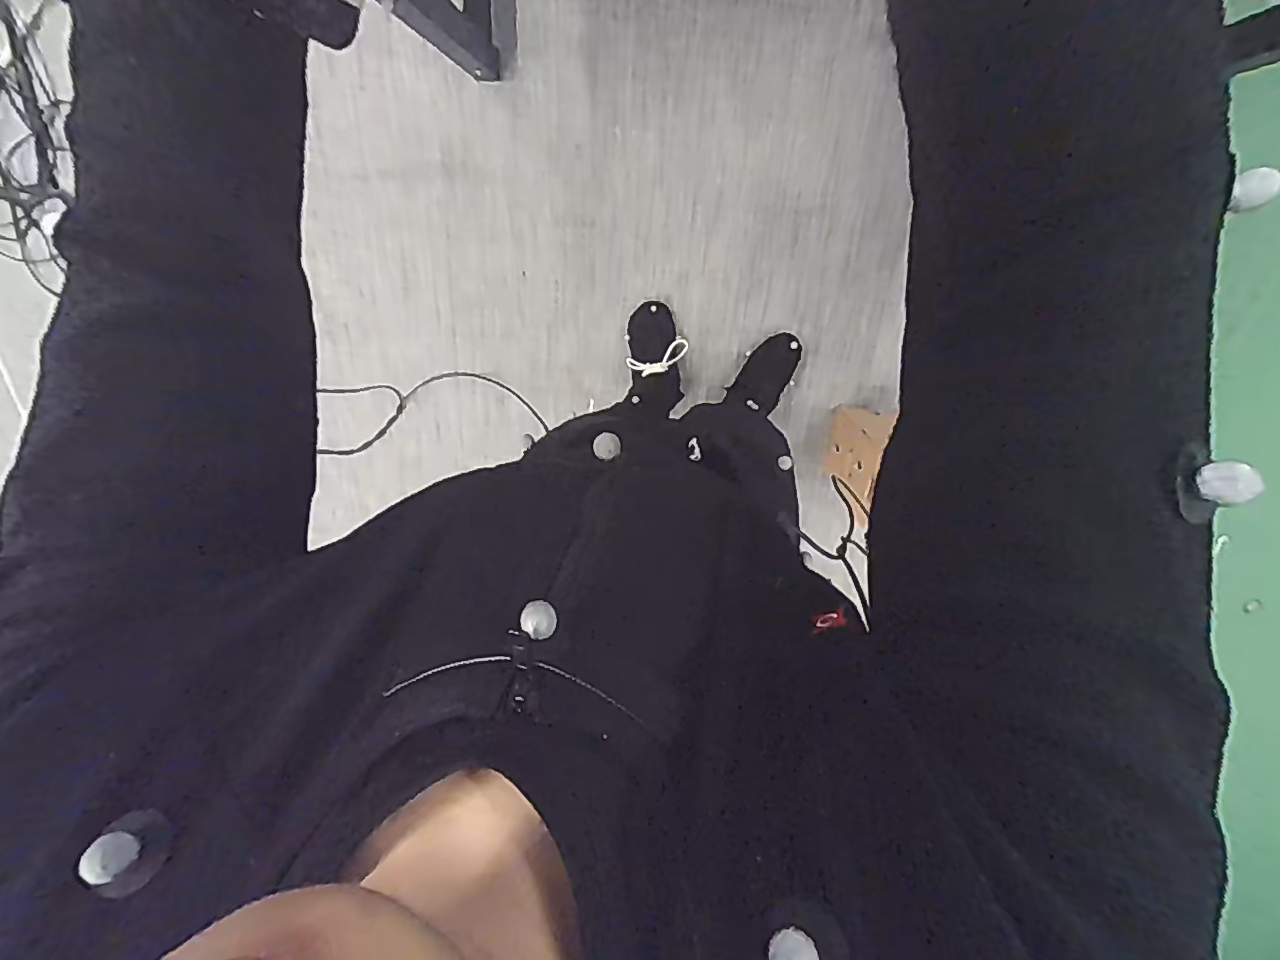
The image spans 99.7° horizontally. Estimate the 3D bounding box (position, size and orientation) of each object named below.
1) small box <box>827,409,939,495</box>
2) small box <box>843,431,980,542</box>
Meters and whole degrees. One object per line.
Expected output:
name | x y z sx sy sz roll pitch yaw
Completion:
small box | 0.553 -0.061 1.263 0.179 0.176 0.168 6 114 2
small box | 0.547 0.008 1.114 0.179 0.176 0.168 7 115 0
